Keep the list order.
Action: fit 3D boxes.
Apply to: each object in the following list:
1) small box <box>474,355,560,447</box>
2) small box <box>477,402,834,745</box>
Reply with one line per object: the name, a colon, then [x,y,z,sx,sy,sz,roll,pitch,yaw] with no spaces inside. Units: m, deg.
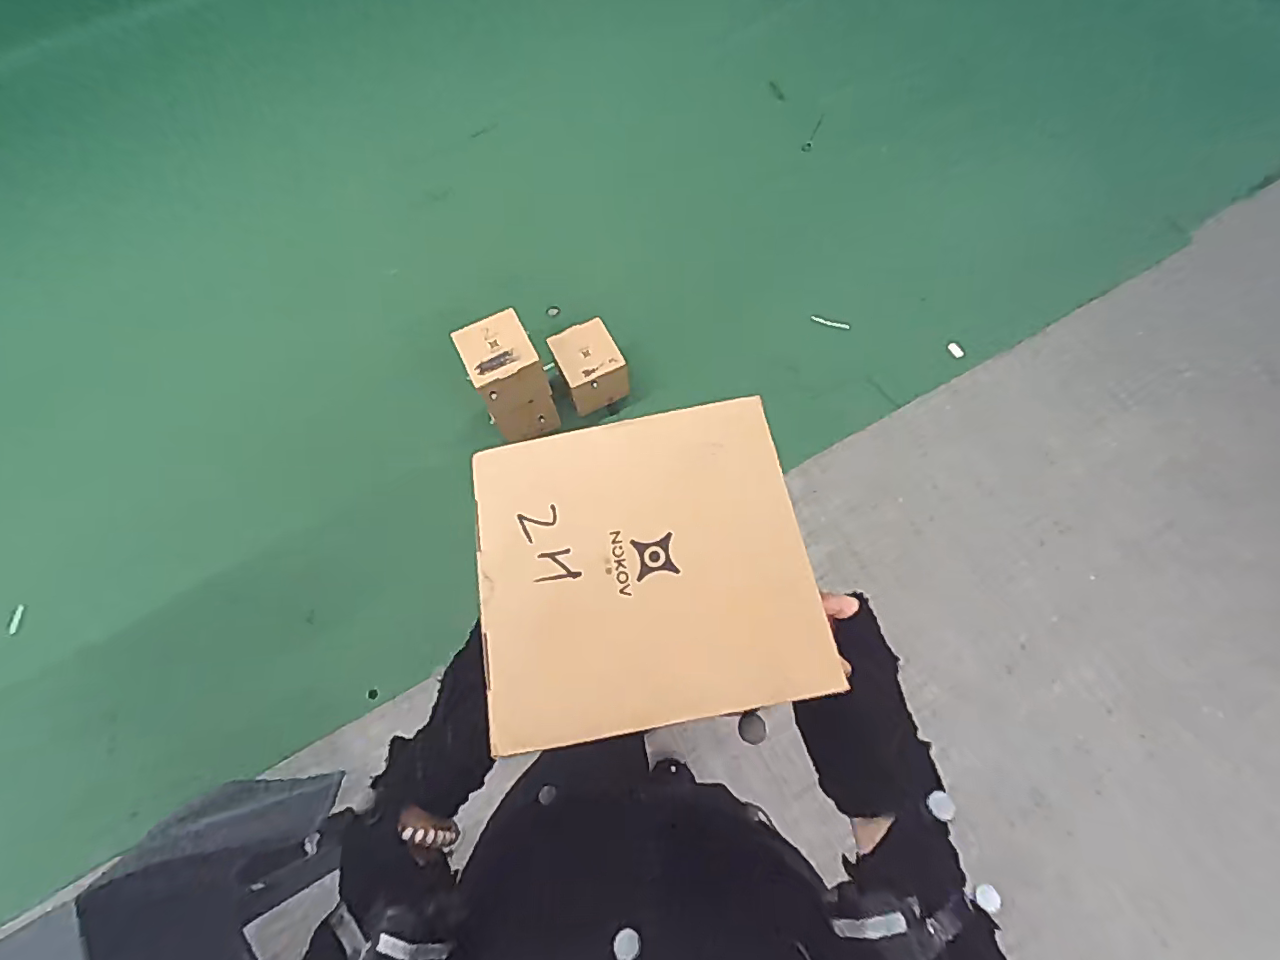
small box: [-0.340,-0.213,1.525,0.168,0.176,0.179,-24,70,-7]
small box: [0.007,0.072,0.371,0.179,0.176,0.168,-12,67,2]
